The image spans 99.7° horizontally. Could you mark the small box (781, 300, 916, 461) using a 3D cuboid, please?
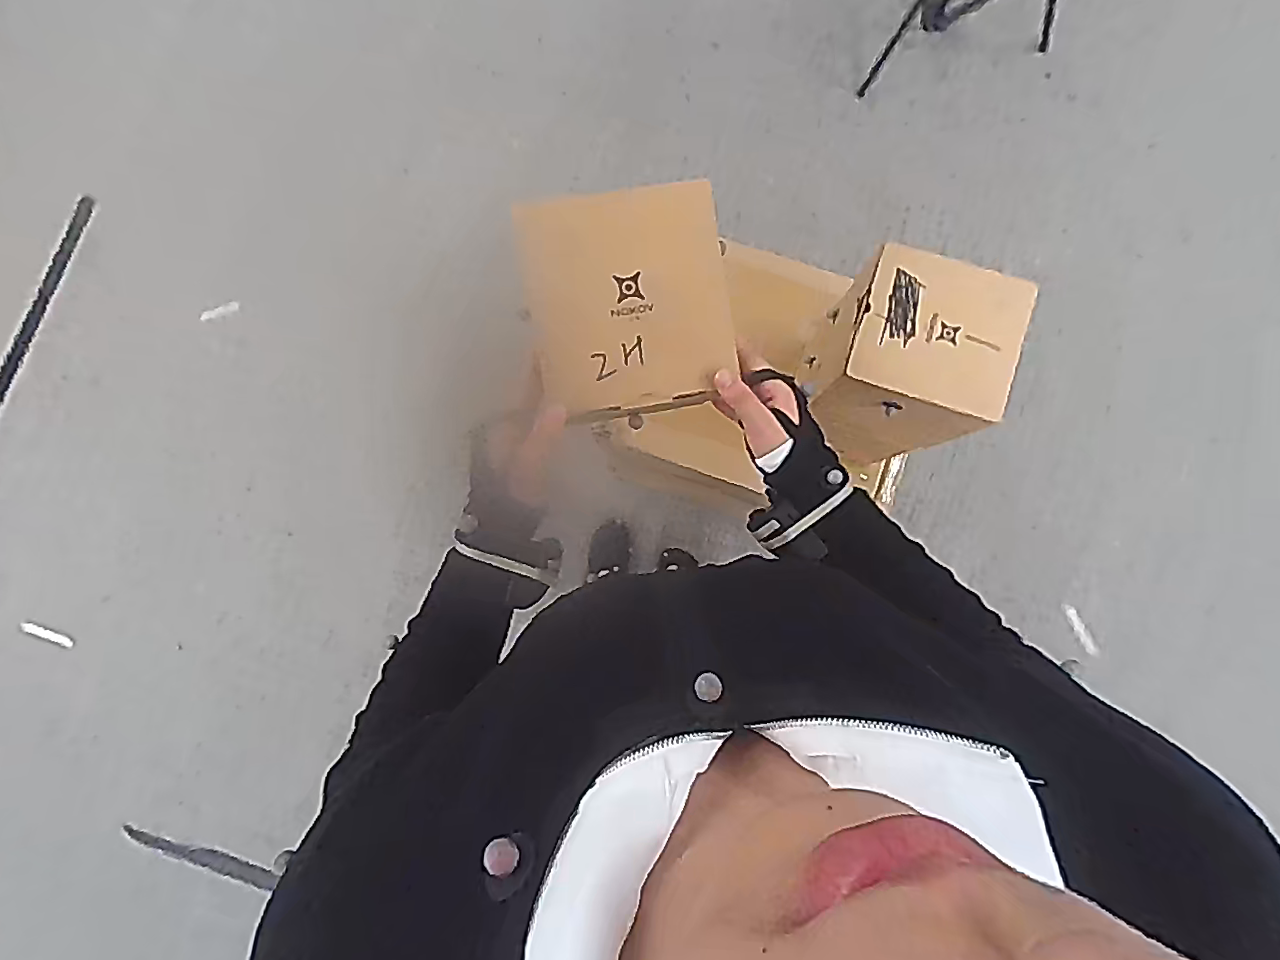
[{"bbox_3d":[0.331,-0.142,0.836,0.168,0.176,0.179,19,86,5],"label":"small box"}]

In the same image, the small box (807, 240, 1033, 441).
[{"bbox_3d":[0.328,-0.158,0.672,0.179,0.176,0.168,19,85,4],"label":"small box"}]

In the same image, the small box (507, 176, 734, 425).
[{"bbox_3d":[-0.022,-0.156,0.525,0.168,0.176,0.179,-11,94,-5],"label":"small box"}]
